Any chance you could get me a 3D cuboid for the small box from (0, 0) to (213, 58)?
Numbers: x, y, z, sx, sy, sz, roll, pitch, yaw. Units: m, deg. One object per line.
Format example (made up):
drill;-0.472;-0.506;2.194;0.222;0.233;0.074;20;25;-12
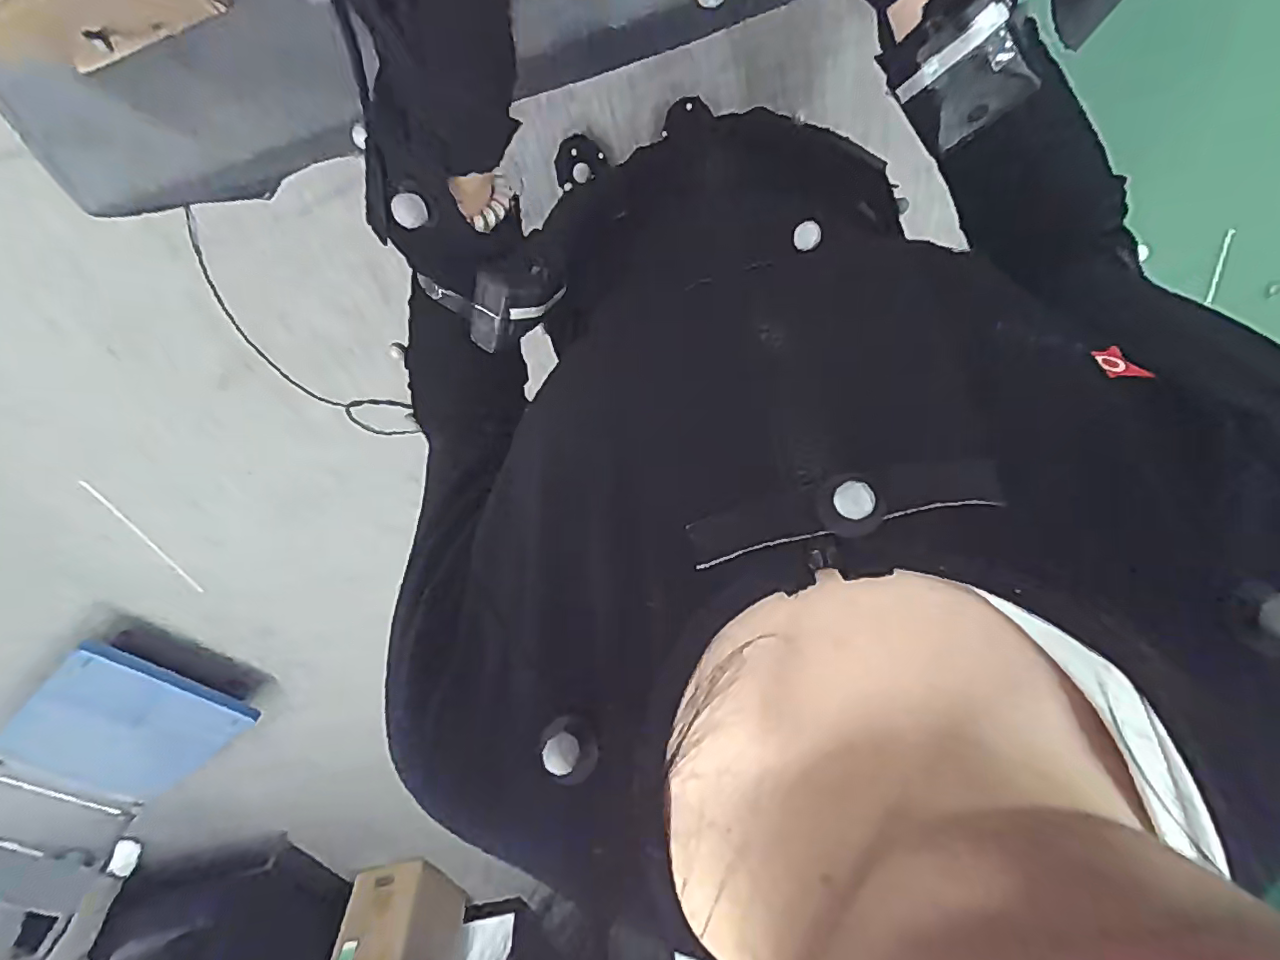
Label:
small box;-0.467;-0.434;0.378;0.168;0.176;0.179;-17;124;7
